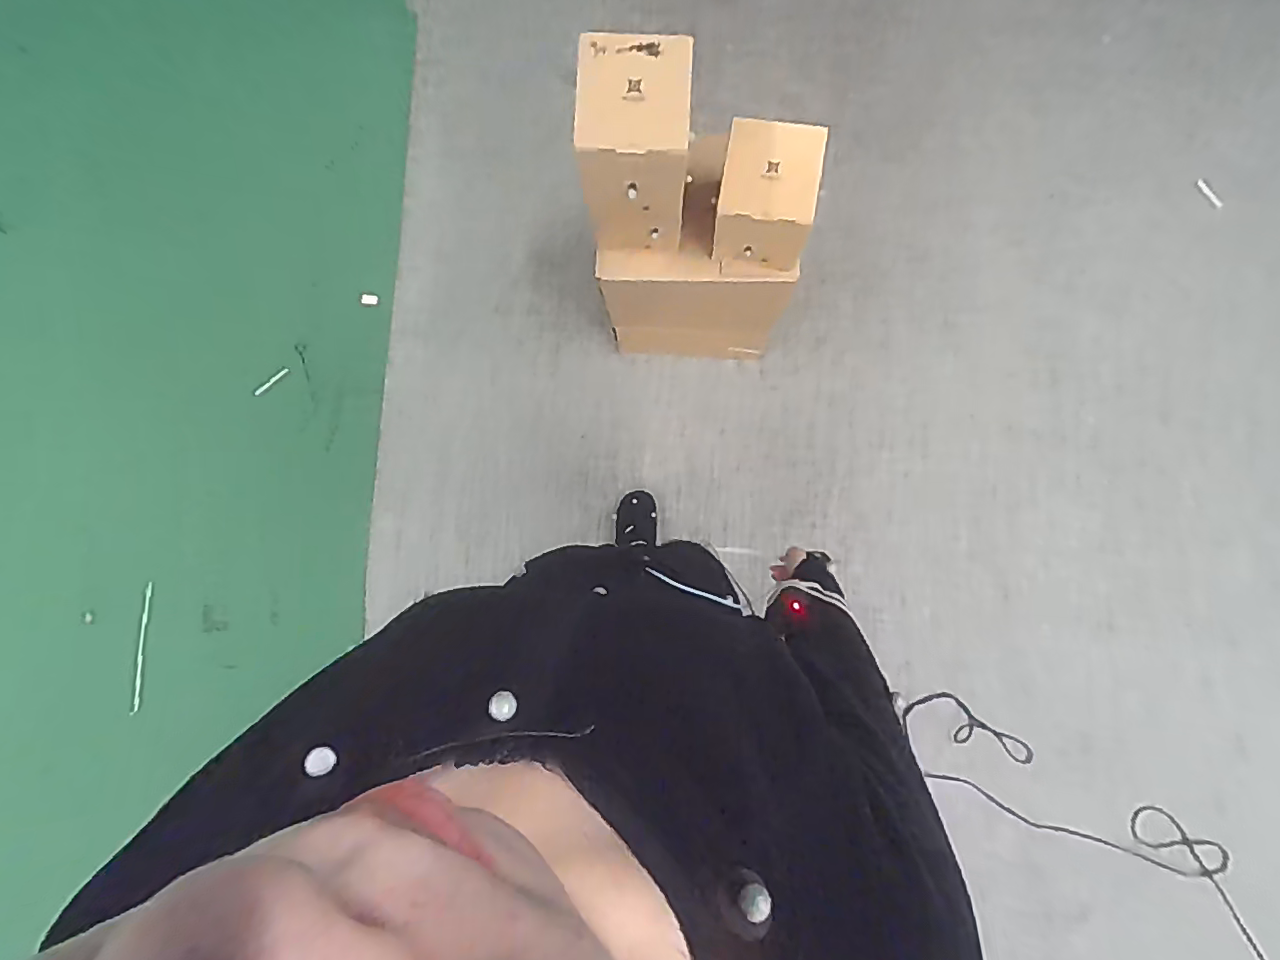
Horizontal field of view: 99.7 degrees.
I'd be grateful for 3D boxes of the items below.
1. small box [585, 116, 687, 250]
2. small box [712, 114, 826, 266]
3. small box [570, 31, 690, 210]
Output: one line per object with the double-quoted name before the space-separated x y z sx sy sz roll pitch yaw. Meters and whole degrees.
"small box" -0.005 -0.552 1.012 0.168 0.176 0.179 4 87 1
"small box" 0.227 -0.525 0.996 0.168 0.176 0.179 9 87 5
"small box" -0.012 -0.549 0.847 0.168 0.176 0.179 2 88 1
